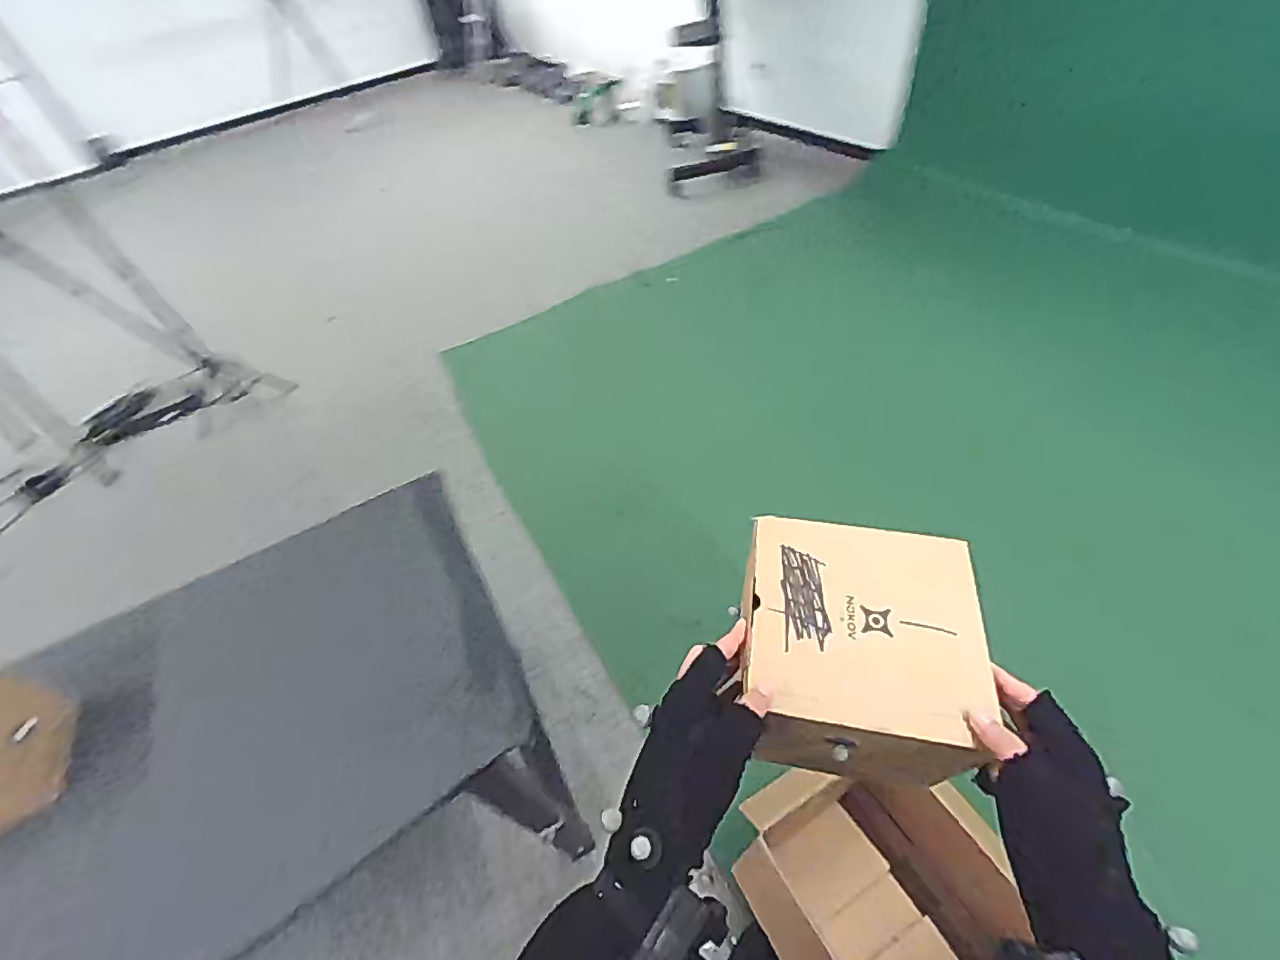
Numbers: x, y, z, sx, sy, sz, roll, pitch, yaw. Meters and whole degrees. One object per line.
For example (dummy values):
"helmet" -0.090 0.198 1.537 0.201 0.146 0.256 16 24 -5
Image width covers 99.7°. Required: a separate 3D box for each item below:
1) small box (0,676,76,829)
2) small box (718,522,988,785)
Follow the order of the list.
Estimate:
"small box" -0.940 0.384 0.735 0.179 0.176 0.168 -28 49 -14
"small box" 0.162 0.156 0.477 0.179 0.176 0.168 5 54 8
